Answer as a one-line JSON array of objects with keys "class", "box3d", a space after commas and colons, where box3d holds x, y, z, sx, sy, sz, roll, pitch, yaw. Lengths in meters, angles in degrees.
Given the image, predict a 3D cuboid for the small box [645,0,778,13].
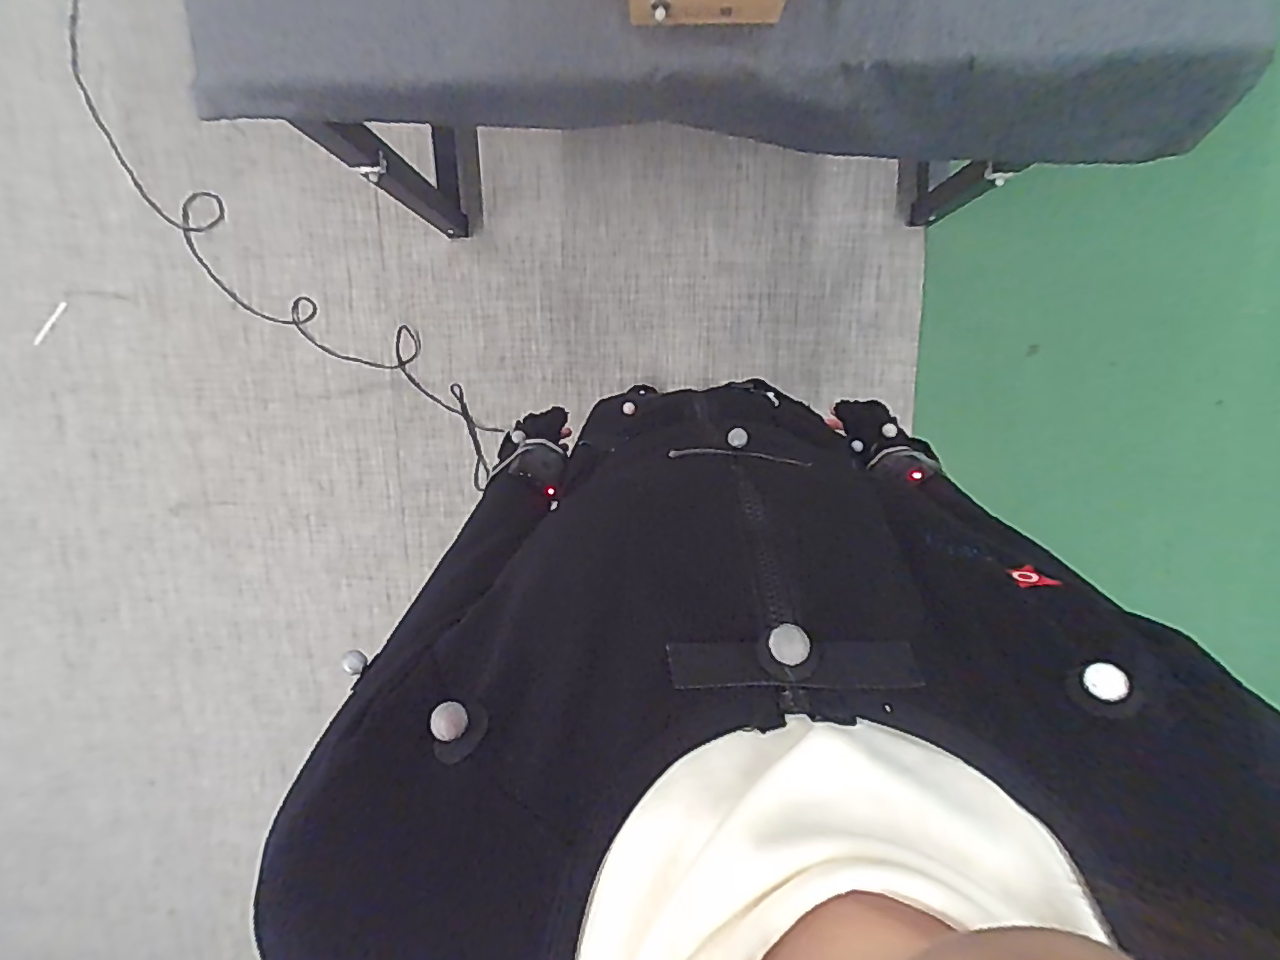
[{"class": "small box", "box3d": [0.073, -0.596, 0.520, 0.168, 0.176, 0.179, 1, 98, 1]}]
